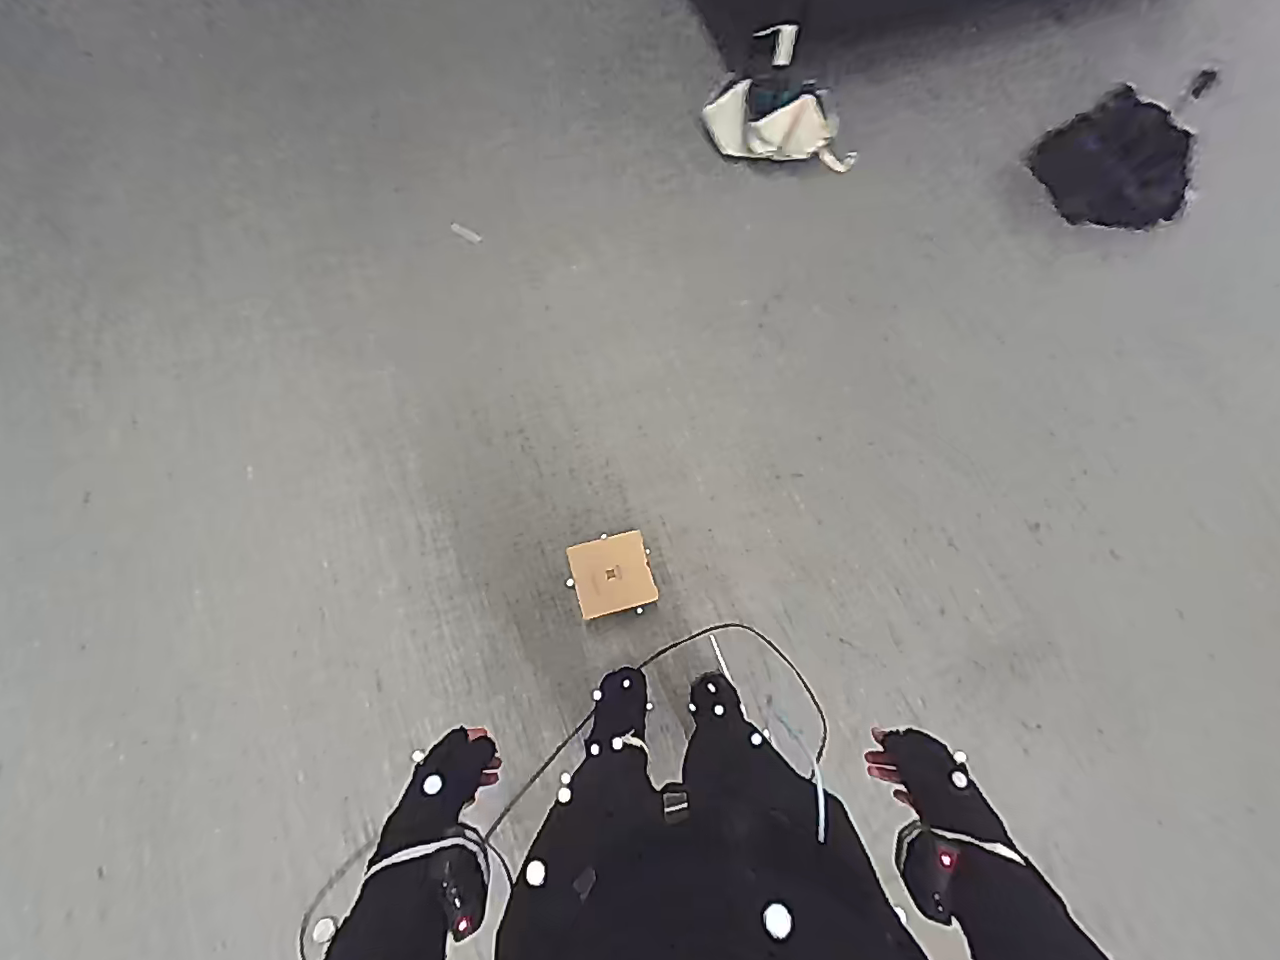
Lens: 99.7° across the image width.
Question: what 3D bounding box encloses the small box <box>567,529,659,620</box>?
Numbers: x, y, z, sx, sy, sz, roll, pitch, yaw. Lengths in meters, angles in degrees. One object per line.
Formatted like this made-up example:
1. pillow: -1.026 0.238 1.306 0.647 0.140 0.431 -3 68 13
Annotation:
1. small box: -0.068 0.222 1.256 0.179 0.176 0.168 -13 76 -9
